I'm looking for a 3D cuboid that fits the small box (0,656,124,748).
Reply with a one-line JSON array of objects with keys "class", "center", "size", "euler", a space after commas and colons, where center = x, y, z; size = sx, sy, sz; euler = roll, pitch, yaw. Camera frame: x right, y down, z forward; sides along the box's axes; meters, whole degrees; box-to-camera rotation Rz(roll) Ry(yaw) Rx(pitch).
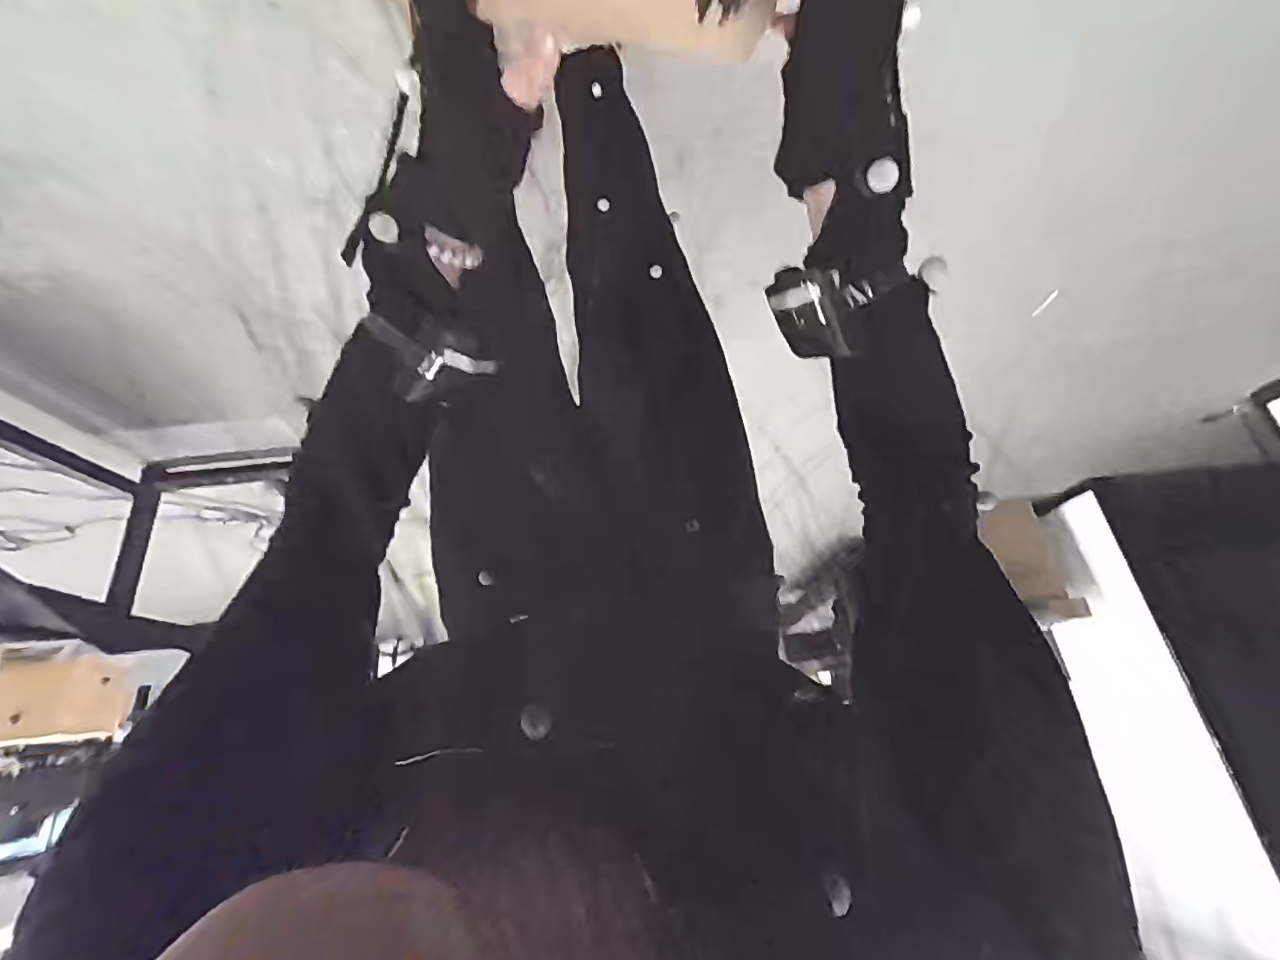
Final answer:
[{"class": "small box", "center": [-1.324, 0.497, 1.207], "size": [0.179, 0.176, 0.168], "euler": [-6, 157, -4]}]
